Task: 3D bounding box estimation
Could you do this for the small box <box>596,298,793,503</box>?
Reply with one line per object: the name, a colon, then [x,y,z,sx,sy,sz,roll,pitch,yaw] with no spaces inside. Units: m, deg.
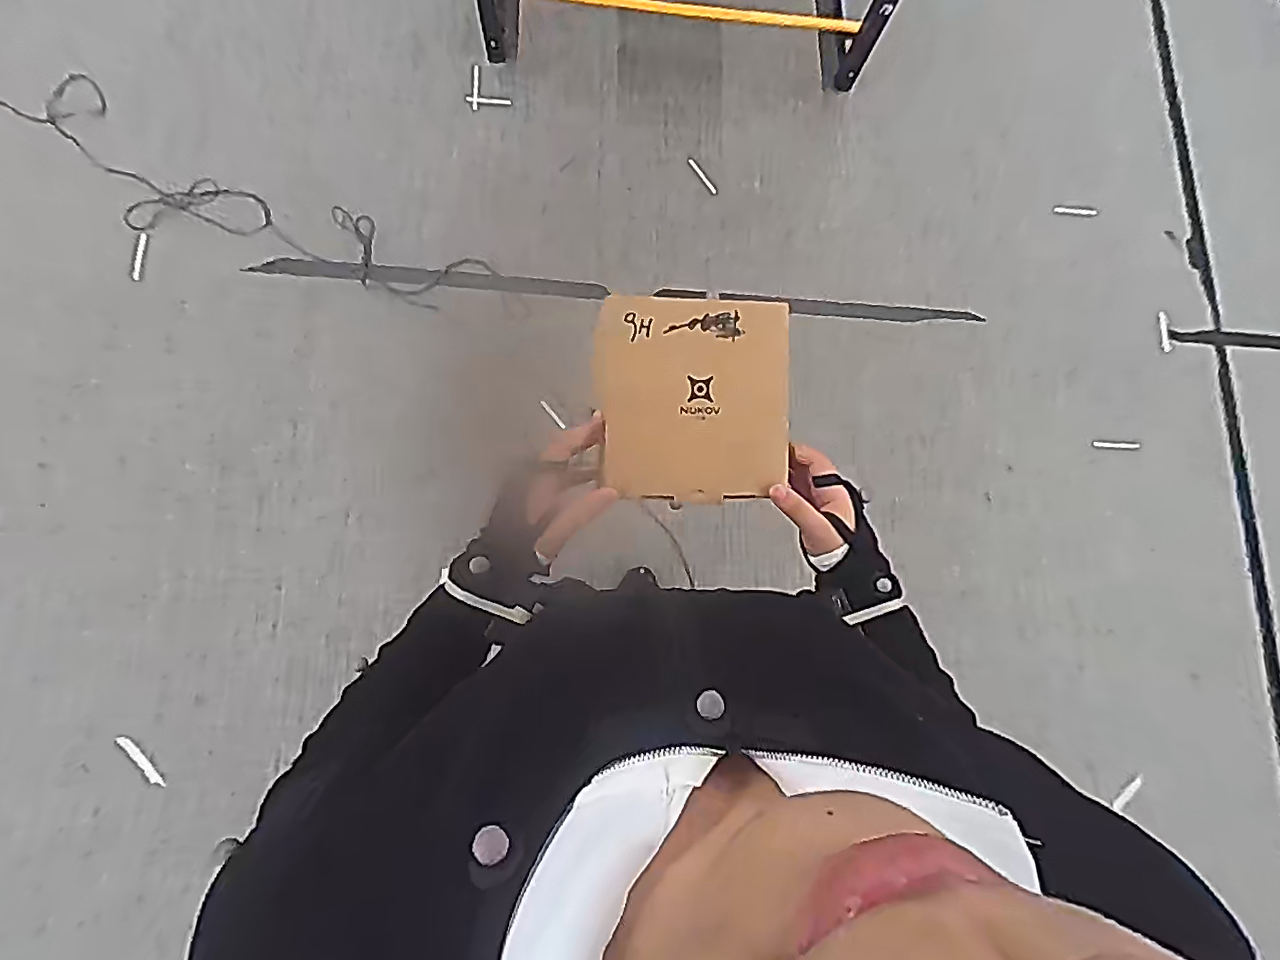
small box: [0.043,-0.072,0.548,0.168,0.176,0.179,-1,93,-8]
